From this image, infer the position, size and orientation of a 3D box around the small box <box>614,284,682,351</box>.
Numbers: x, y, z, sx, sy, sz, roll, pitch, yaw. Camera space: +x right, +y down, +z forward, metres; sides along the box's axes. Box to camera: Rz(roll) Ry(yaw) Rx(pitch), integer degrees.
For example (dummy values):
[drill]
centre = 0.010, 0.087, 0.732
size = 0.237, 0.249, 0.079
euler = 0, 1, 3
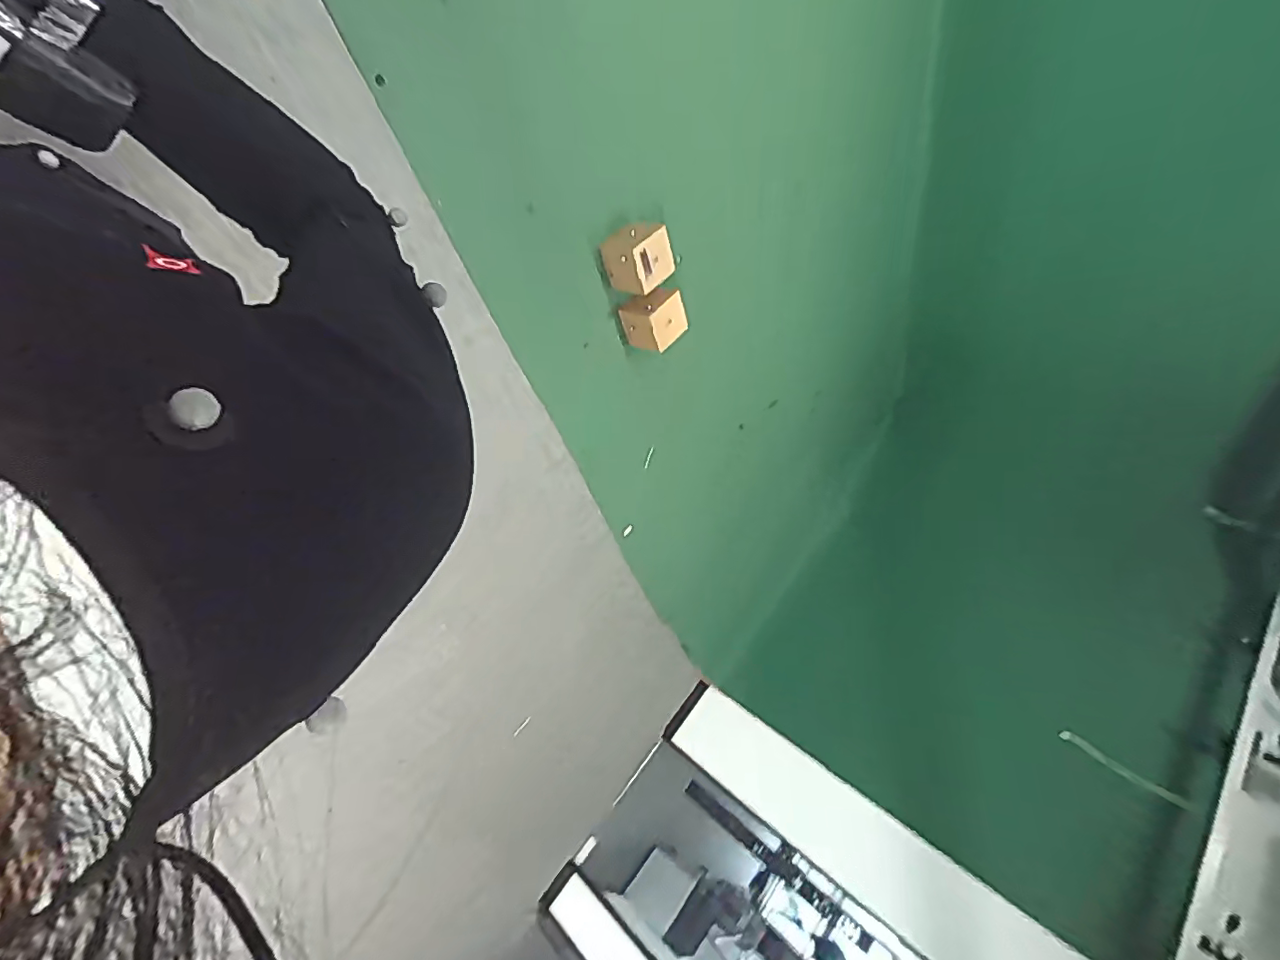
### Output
[small box]
centre = 0.031, -0.631, 2.078
size = 0.179, 0.176, 0.168
euler = -47, 141, -20
